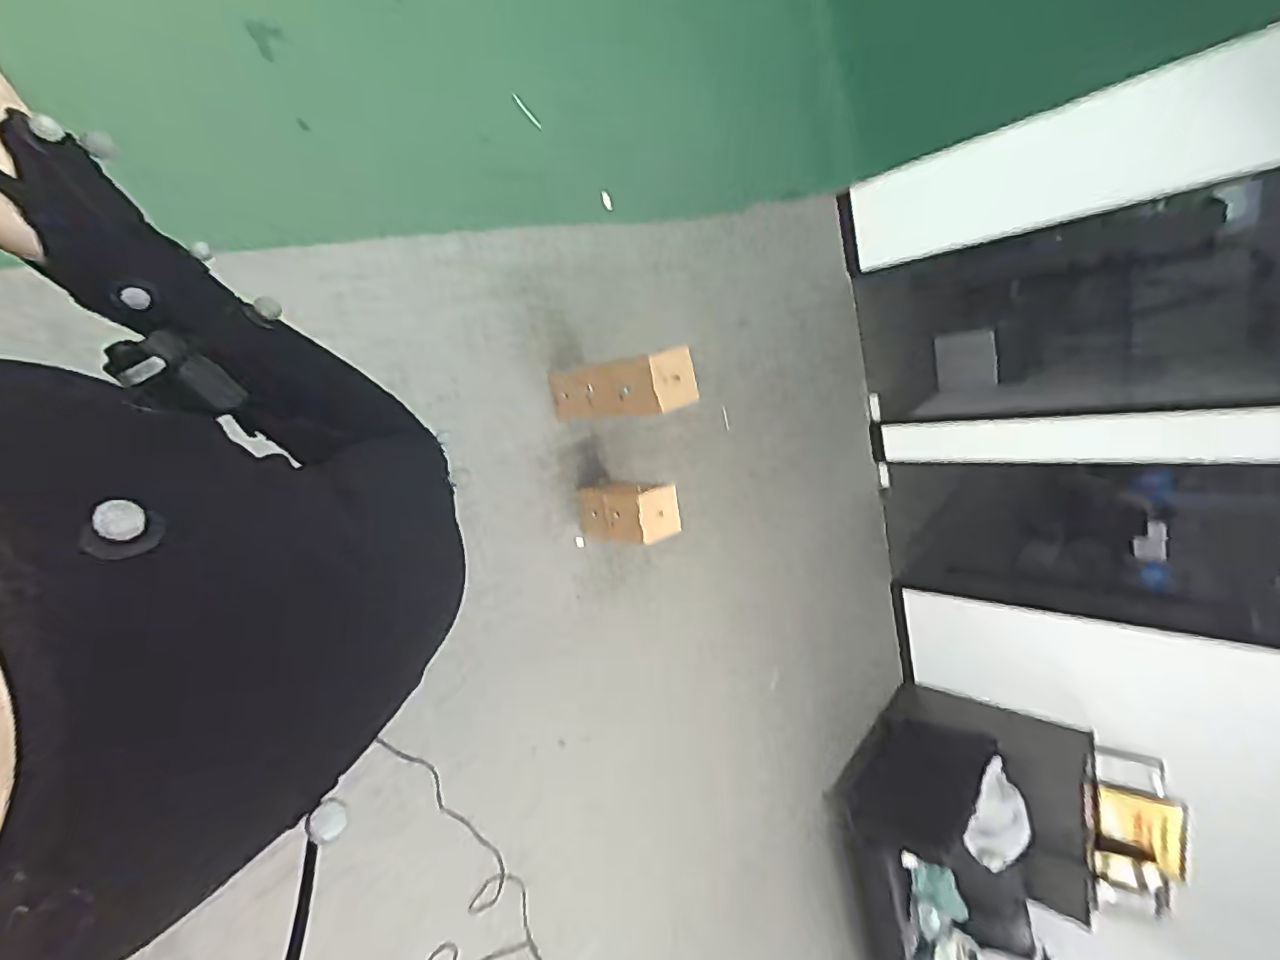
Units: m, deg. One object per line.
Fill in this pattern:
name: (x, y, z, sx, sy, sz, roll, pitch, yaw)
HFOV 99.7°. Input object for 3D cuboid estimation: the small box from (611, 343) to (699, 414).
small box: (0.044, -0.295, 1.580, 0.179, 0.176, 0.168, -26, 108, -40)

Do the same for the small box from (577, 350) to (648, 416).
small box: (-0.068, -0.304, 1.701, 0.179, 0.176, 0.168, -26, 108, -39)

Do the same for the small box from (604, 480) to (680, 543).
small box: (0.006, 0.098, 1.793, 0.179, 0.176, 0.168, -17, 104, -41)

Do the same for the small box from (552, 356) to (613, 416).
small box: (-0.179, -0.314, 1.820, 0.179, 0.176, 0.168, -22, 107, -40)
